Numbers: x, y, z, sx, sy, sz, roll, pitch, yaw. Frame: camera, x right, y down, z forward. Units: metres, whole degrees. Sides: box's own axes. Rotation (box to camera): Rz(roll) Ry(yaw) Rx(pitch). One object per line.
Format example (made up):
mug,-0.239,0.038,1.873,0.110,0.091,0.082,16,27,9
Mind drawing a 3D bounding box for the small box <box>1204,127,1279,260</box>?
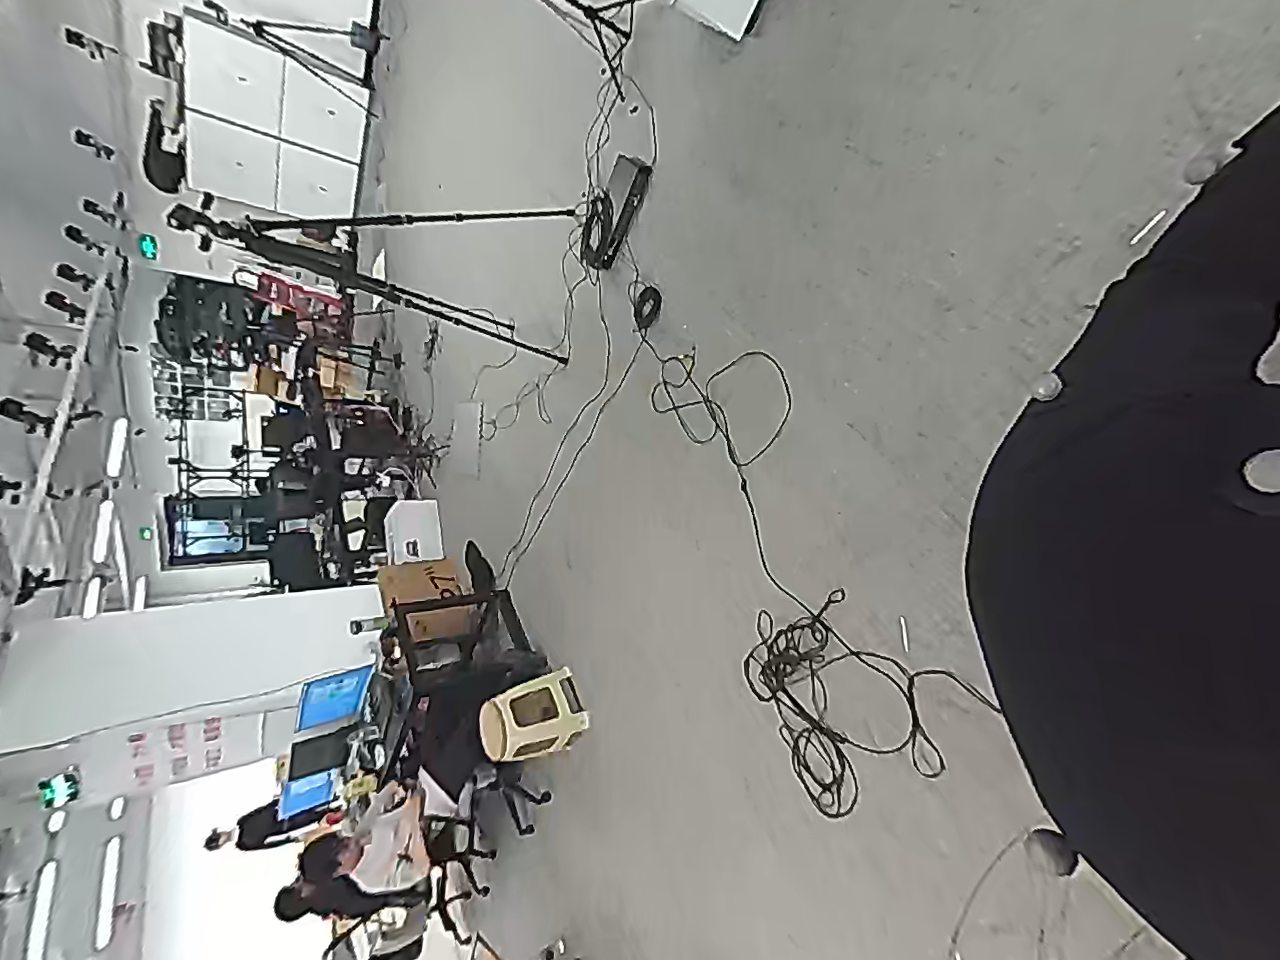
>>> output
small box,1.131,-0.490,0.916,0.168,0.176,0.179,-54,51,36
